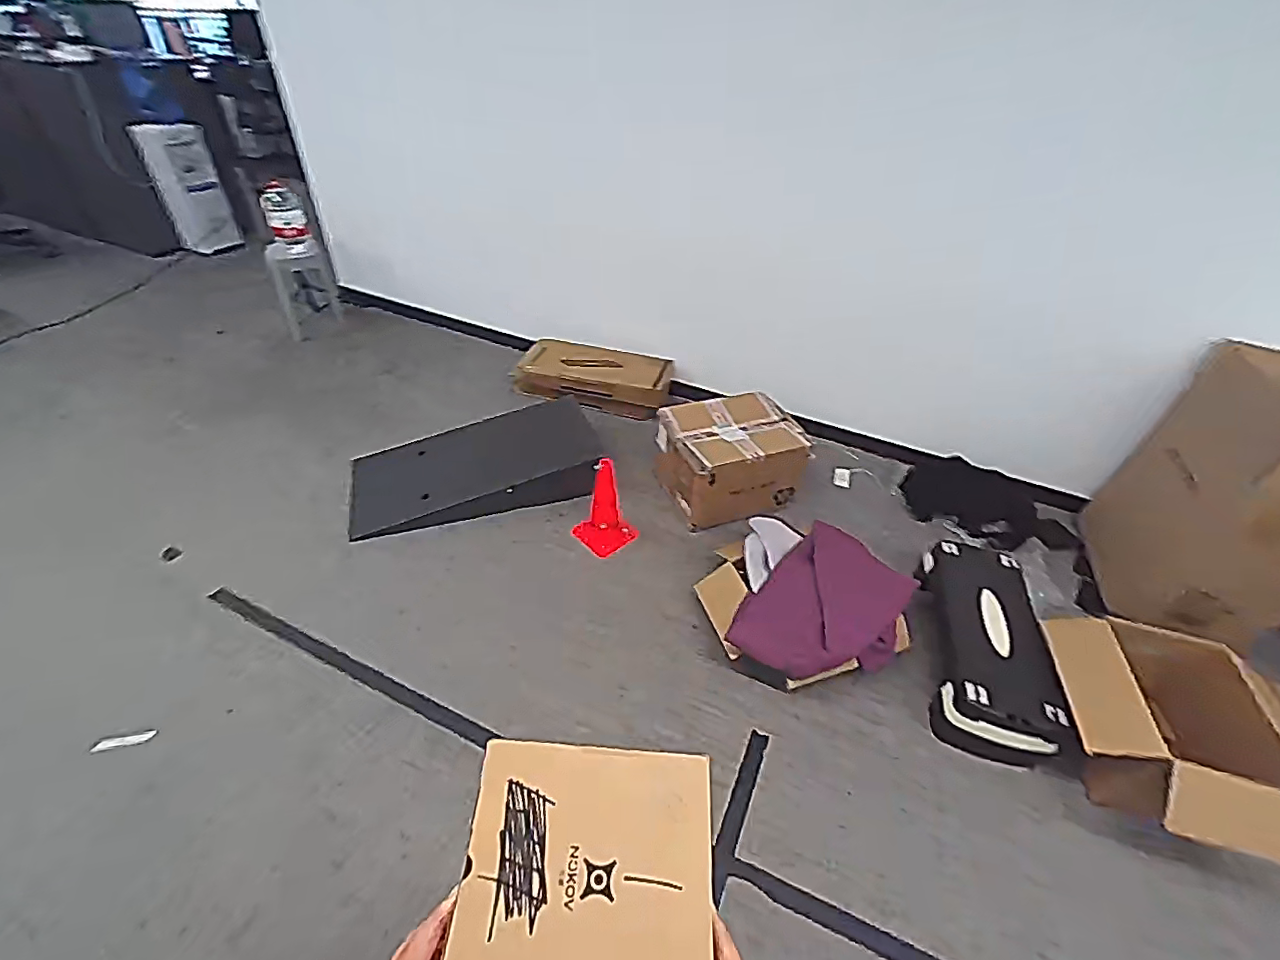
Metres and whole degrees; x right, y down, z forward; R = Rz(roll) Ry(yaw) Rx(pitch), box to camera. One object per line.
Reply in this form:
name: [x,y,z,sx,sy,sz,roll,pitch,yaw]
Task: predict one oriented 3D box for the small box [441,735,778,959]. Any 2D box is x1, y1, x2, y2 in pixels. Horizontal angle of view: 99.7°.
small box: [-0.017,0.280,0.353,0.179,0.176,0.168,4,52,-1]
